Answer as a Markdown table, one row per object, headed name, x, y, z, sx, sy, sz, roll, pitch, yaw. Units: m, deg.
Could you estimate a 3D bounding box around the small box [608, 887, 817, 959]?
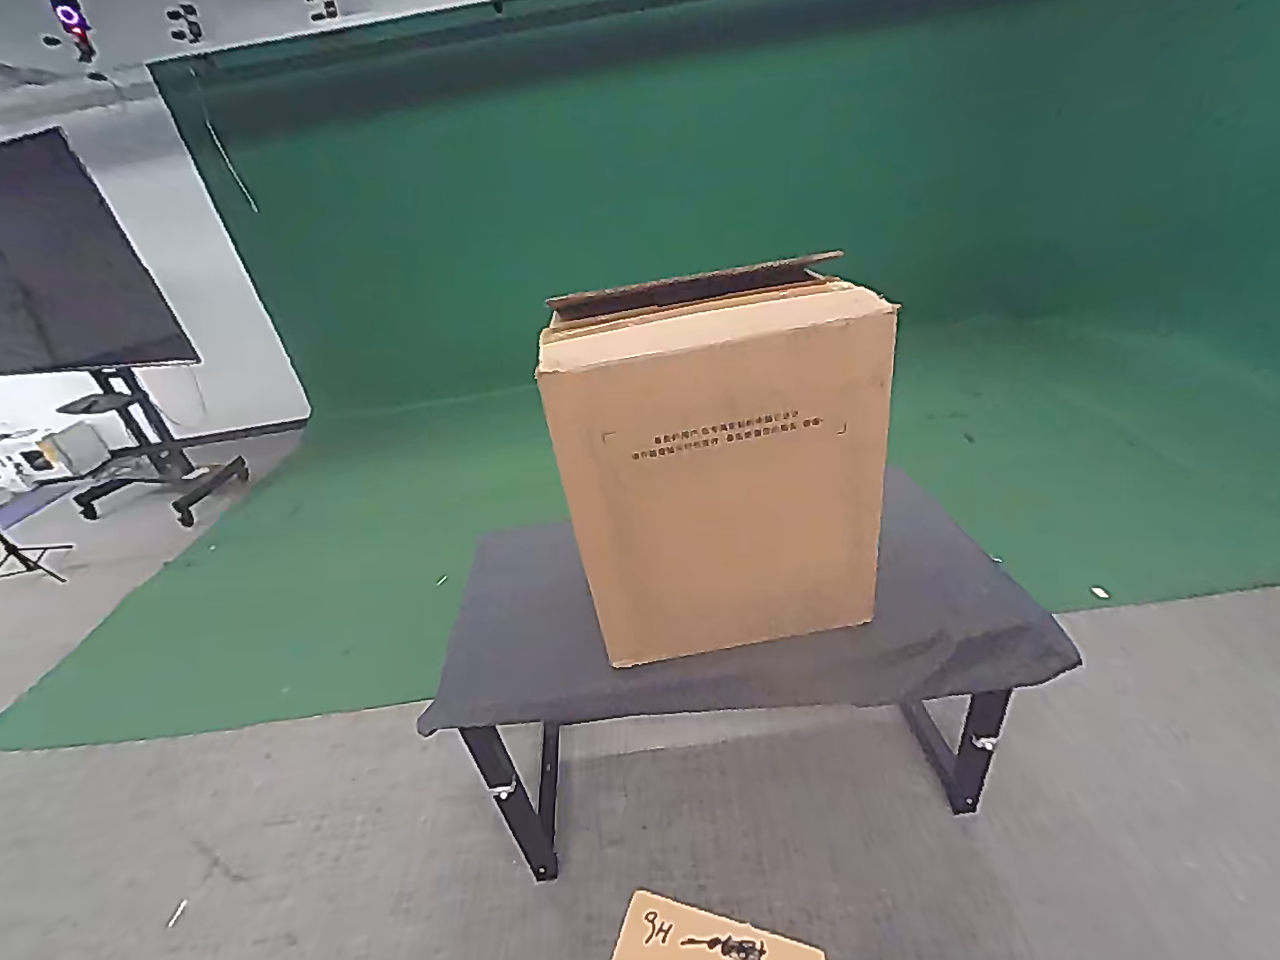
| name | x | y | z | sx | sy | sz | roll | pitch | yaw |
| --- | --- | --- | --- | --- | --- | --- | --- | --- | --- |
| small box | 0.047 | 0.484 | 0.426 | 0.168 | 0.176 | 0.179 | 5 | 24 | 17 |
